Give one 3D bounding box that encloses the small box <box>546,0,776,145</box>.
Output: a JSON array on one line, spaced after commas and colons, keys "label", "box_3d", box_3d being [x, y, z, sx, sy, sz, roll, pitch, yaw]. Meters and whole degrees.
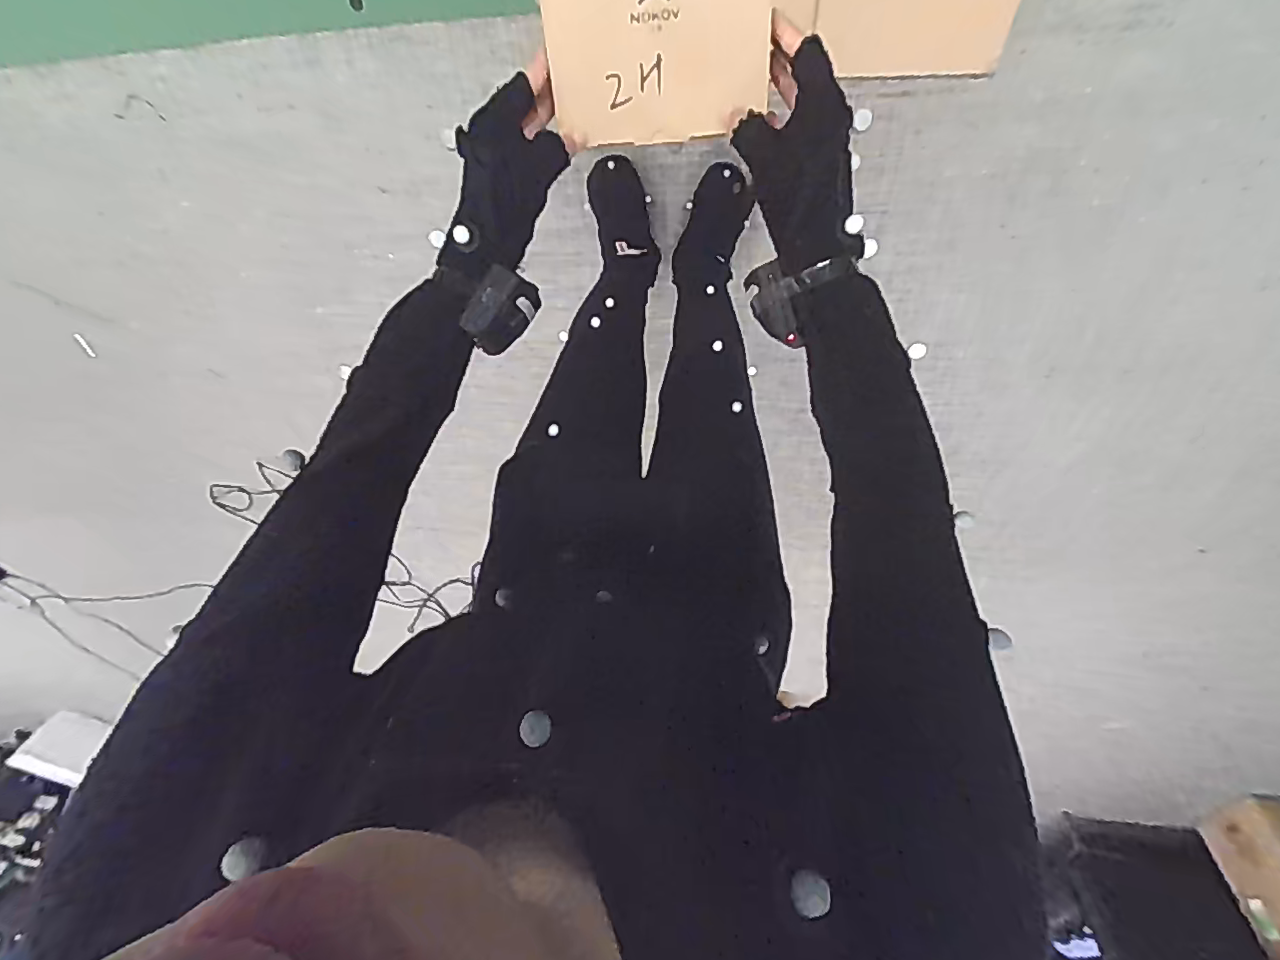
[{"label": "small box", "box_3d": [0.024, -0.387, 0.443, 0.168, 0.176, 0.179, 2, 127, 10]}]
